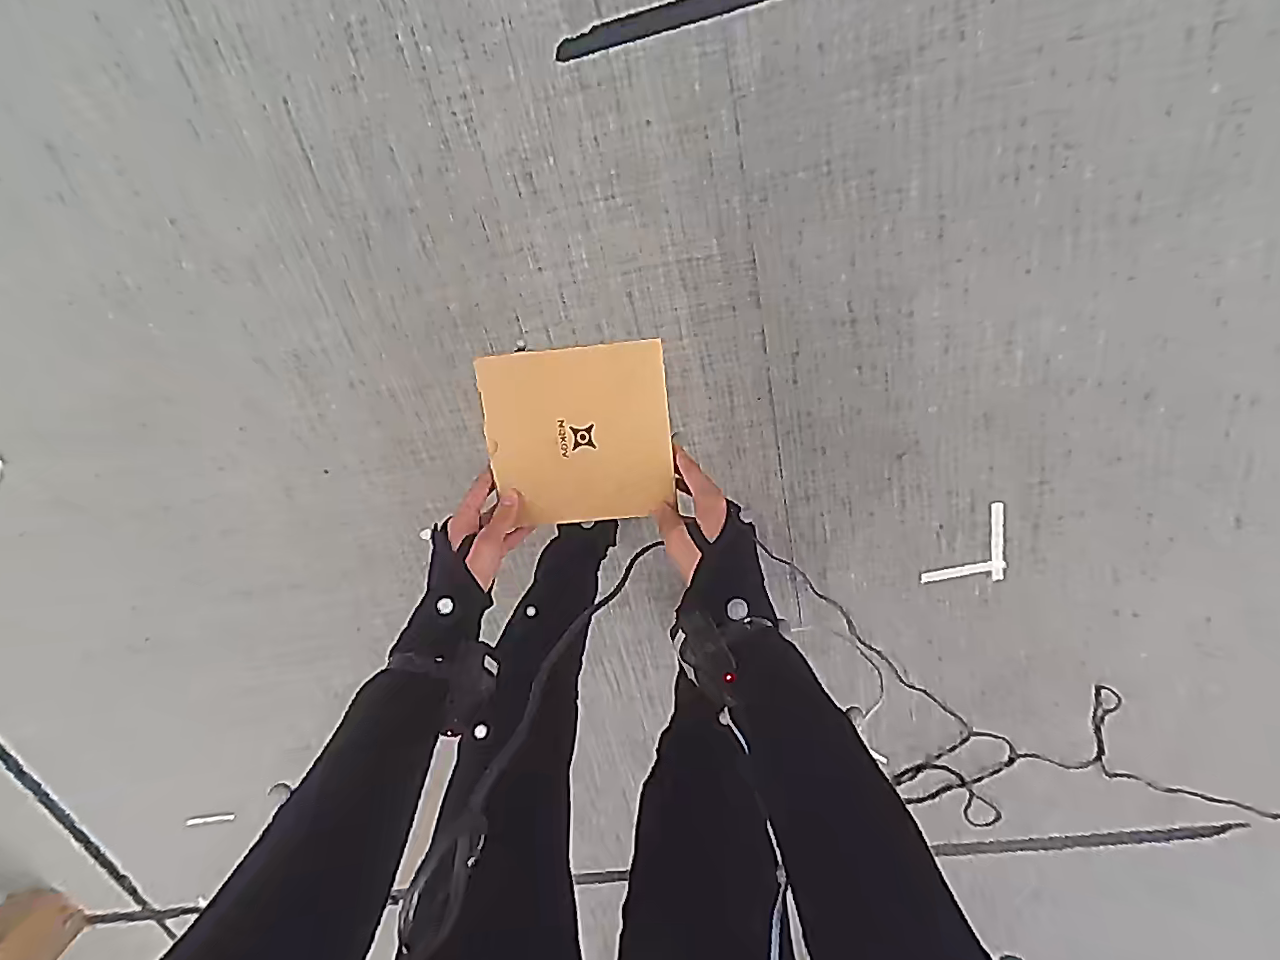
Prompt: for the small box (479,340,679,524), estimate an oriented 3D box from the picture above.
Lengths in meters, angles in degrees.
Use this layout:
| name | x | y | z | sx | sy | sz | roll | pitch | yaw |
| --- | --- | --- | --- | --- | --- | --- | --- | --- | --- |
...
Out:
| name | x | y | z | sx | sy | sz | roll | pitch | yaw |
| --- | --- | --- | --- | --- | --- | --- | --- | --- | --- |
| small box | -0.053 | -0.061 | 0.589 | 0.179 | 0.176 | 0.168 | -5 | 104 | 5 |
